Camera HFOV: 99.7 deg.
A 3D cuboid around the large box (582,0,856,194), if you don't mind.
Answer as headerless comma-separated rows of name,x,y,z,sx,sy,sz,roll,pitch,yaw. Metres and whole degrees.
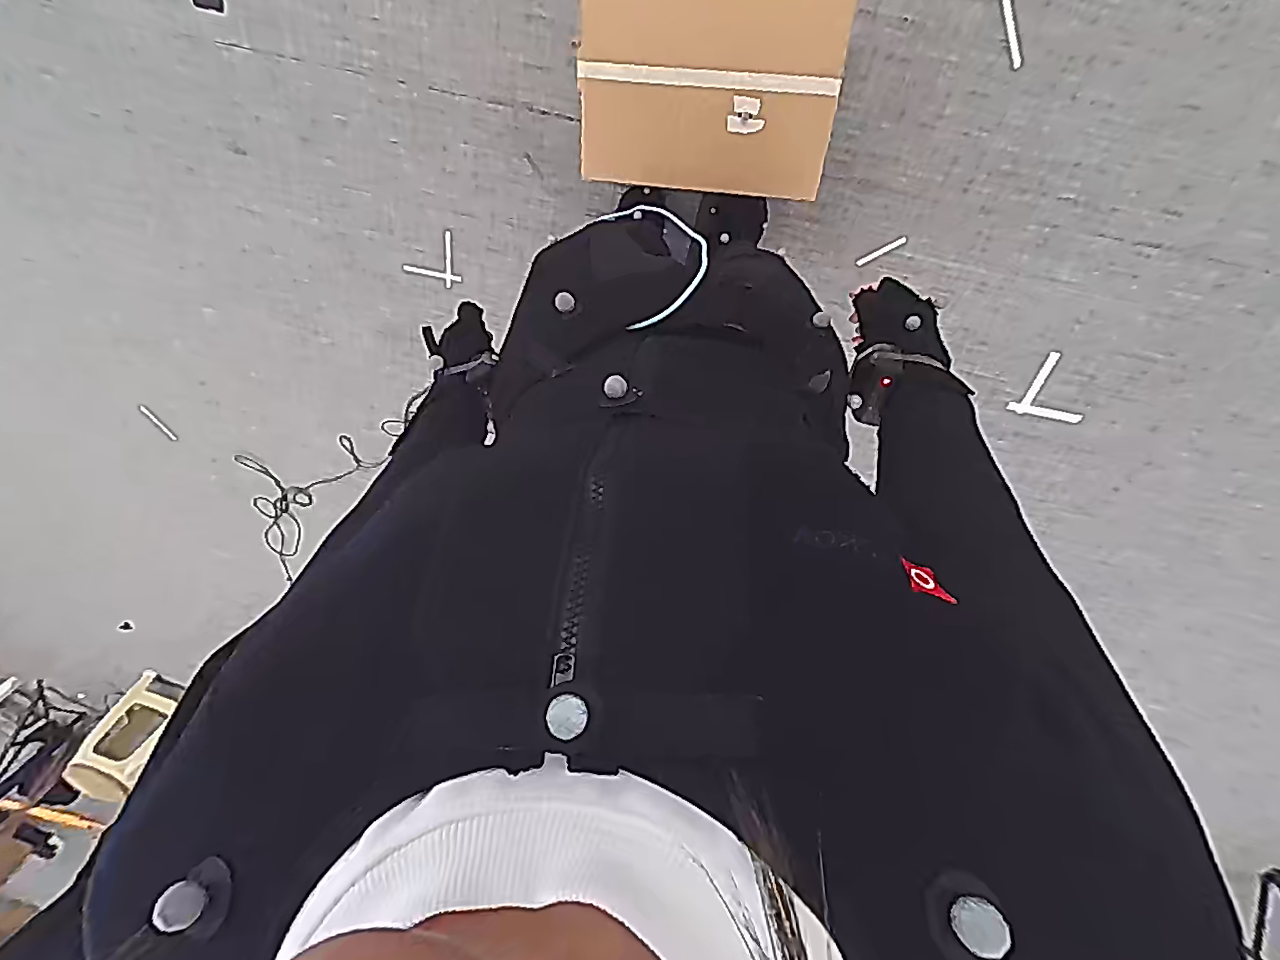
large box,0.123,-0.708,0.958,0.408,0.320,0.320,8,125,4
